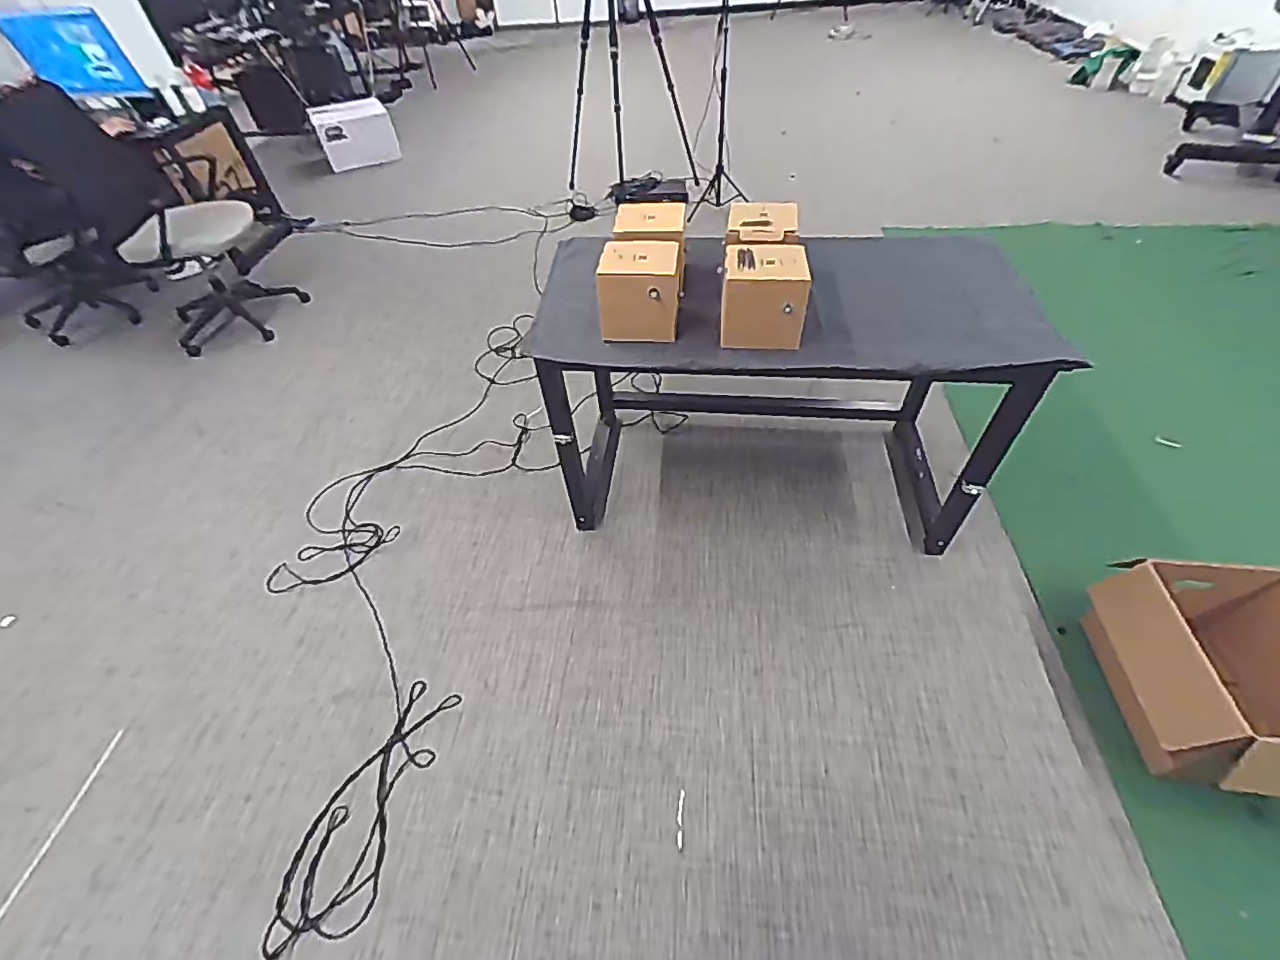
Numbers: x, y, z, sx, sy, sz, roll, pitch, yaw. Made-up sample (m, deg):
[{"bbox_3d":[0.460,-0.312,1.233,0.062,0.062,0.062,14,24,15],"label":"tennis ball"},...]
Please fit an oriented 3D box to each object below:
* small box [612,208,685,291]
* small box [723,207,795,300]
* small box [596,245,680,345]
[{"bbox_3d":[0.029,-0.596,1.425,0.179,0.176,0.168,1,48,6],"label":"small box"},{"bbox_3d":[0.303,-0.578,1.385,0.168,0.176,0.179,6,48,9],"label":"small box"},{"bbox_3d":[0.001,-0.433,1.274,0.179,0.176,0.168,2,47,6],"label":"small box"}]
